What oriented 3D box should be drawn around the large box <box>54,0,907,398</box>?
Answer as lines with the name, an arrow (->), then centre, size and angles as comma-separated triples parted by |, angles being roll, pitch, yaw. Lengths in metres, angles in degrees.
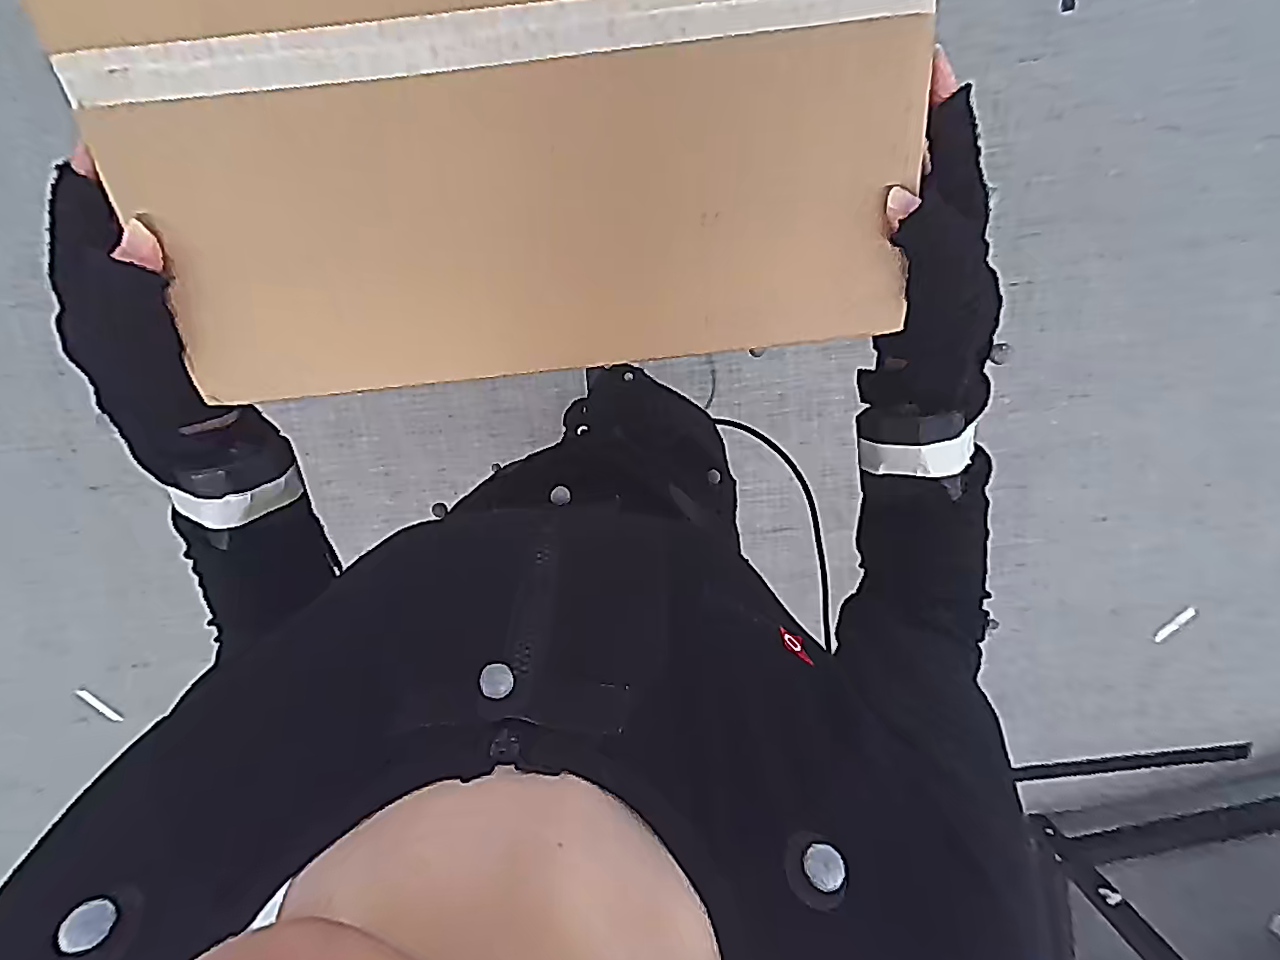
large box -> -0.071, -0.273, 0.396 | 0.408, 0.320, 0.320 | -6, 113, 0
